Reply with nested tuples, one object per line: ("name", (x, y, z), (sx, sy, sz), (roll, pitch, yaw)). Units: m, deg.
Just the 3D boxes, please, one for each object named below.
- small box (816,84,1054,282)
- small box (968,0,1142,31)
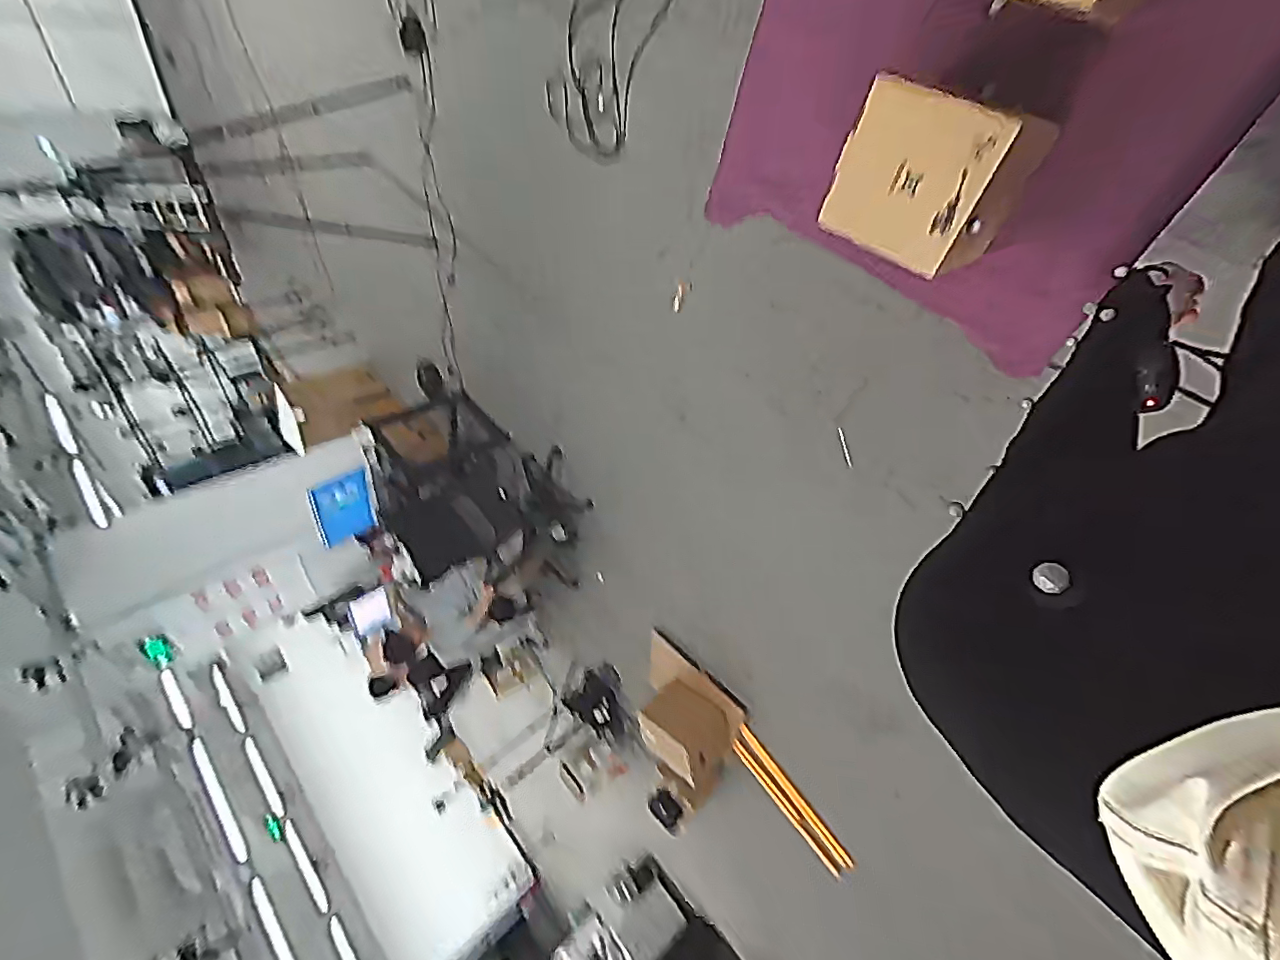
("small box", (0.367, -0.376, 0.684), (0.179, 0.176, 0.168), (42, 141, 26))
("small box", (0.414, -0.554, 0.515), (0.179, 0.176, 0.168), (41, 139, 25))
